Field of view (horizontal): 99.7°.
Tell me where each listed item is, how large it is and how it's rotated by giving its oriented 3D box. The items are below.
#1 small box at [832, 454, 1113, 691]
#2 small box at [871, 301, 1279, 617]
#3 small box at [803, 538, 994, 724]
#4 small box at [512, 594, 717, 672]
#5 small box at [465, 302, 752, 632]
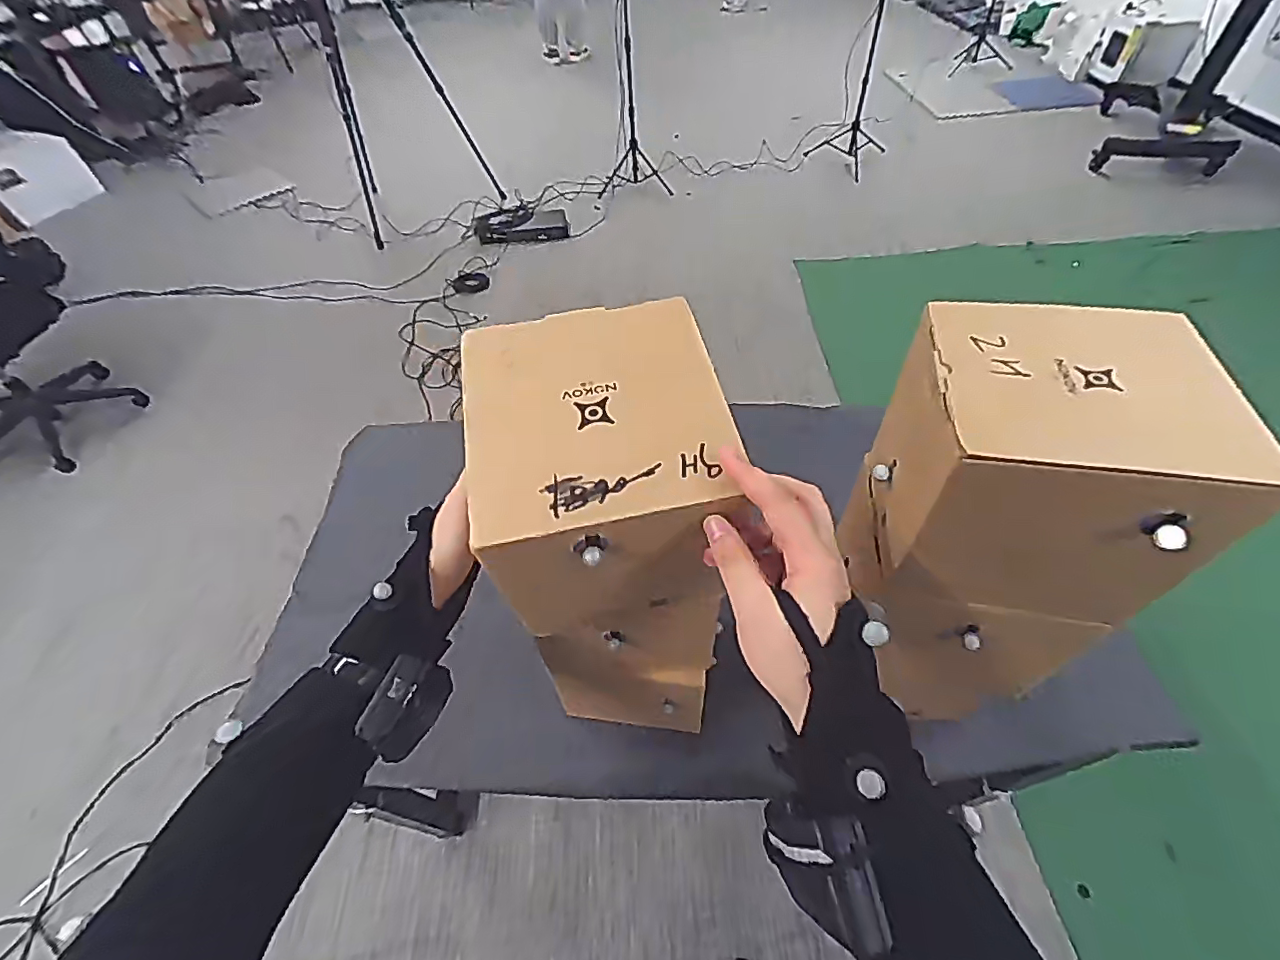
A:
[{"bbox_3d":[0.300,0.095,0.538,0.179,0.176,0.168,5,51,10],"label":"small box"},{"bbox_3d":[0.292,-0.012,0.413,0.179,0.176,0.168,7,51,11],"label":"small box"},{"bbox_3d":[0.311,0.187,0.672,0.168,0.176,0.179,-3,51,3],"label":"small box"},{"bbox_3d":[-0.018,0.090,0.564,0.179,0.176,0.168,-3,50,2],"label":"small box"},{"bbox_3d":[-0.027,-0.005,0.415,0.168,0.176,0.179,-10,57,-4],"label":"small box"}]
